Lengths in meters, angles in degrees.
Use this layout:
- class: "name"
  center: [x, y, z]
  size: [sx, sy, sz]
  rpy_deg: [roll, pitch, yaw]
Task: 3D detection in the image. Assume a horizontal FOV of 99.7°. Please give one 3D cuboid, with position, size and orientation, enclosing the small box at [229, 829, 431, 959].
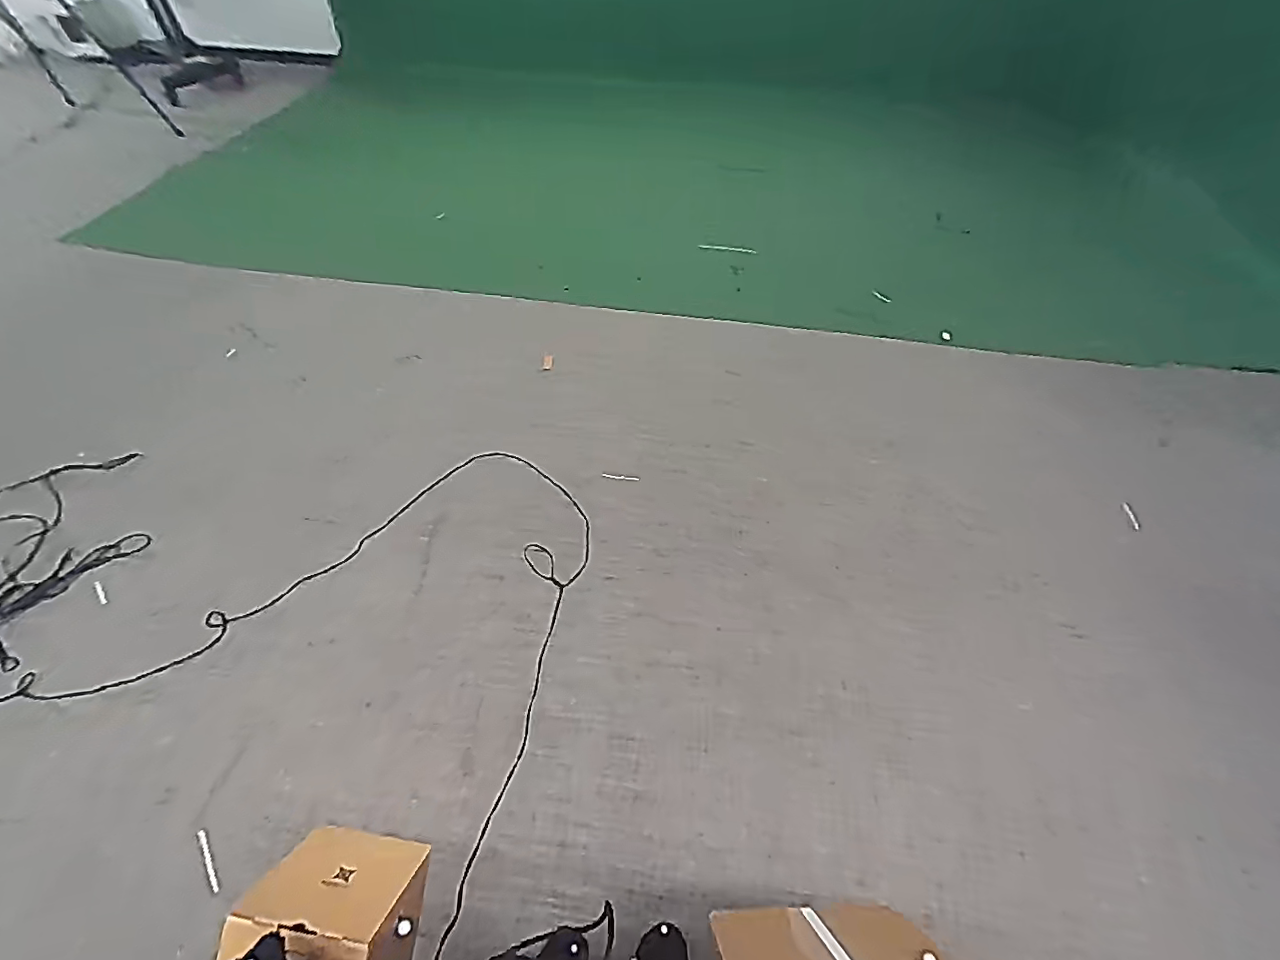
- class: "small box"
  center: [-0.389, 0.586, 0.676]
  size: [0.168, 0.179, 0.176]
  rpy_deg: [9, 88, 1]
